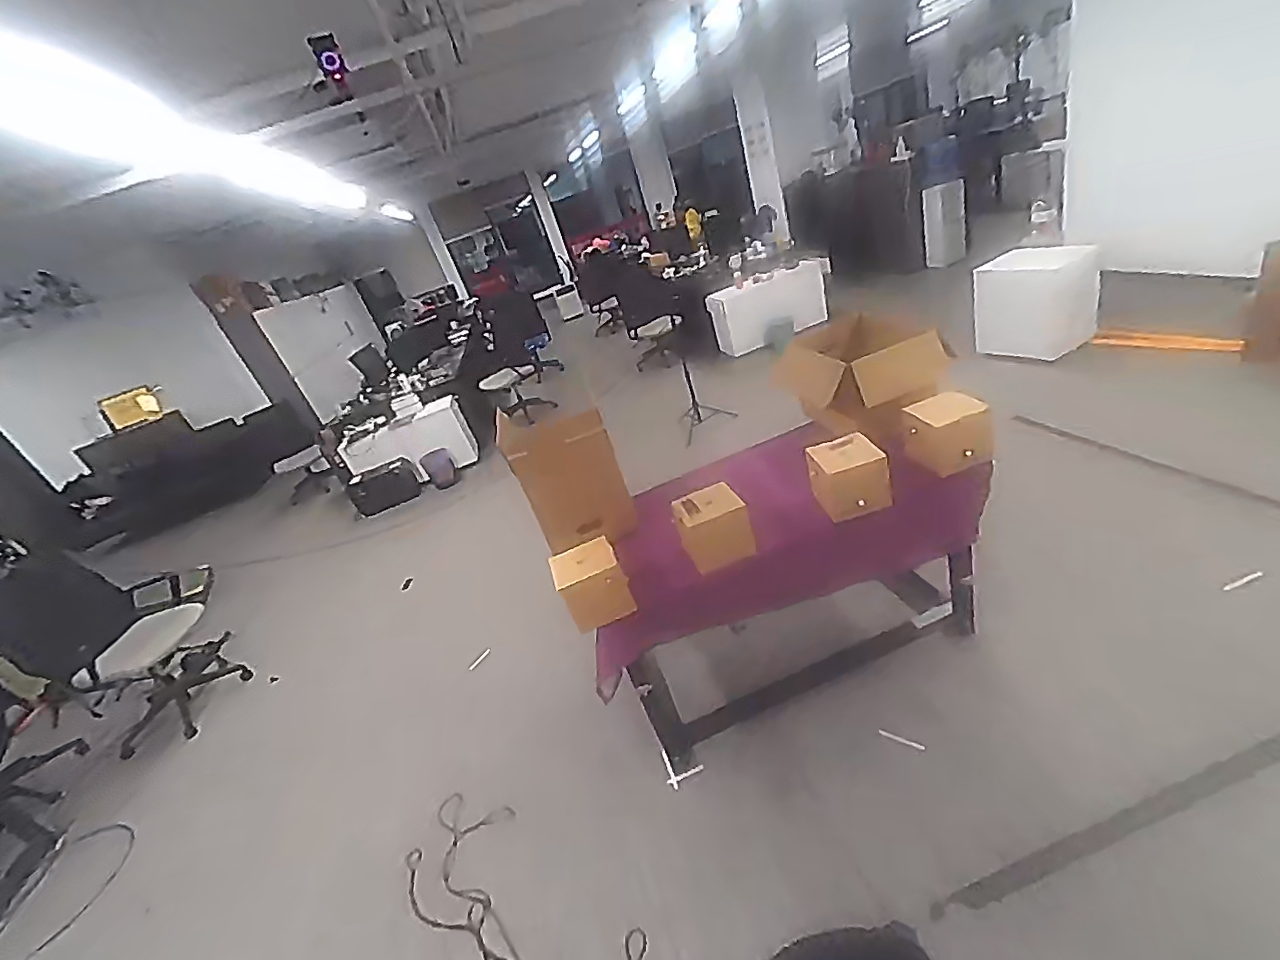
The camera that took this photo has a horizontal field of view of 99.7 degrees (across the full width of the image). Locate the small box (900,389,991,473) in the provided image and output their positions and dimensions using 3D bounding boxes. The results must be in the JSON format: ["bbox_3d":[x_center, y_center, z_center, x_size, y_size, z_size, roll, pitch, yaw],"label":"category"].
[{"bbox_3d":[0.896,-0.143,1.589,0.168,0.176,0.179,-22,26,1],"label":"small box"}]

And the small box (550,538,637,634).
[{"bbox_3d":[-0.130,0.295,1.502,0.179,0.176,0.168,-23,27,-7],"label":"small box"}]
